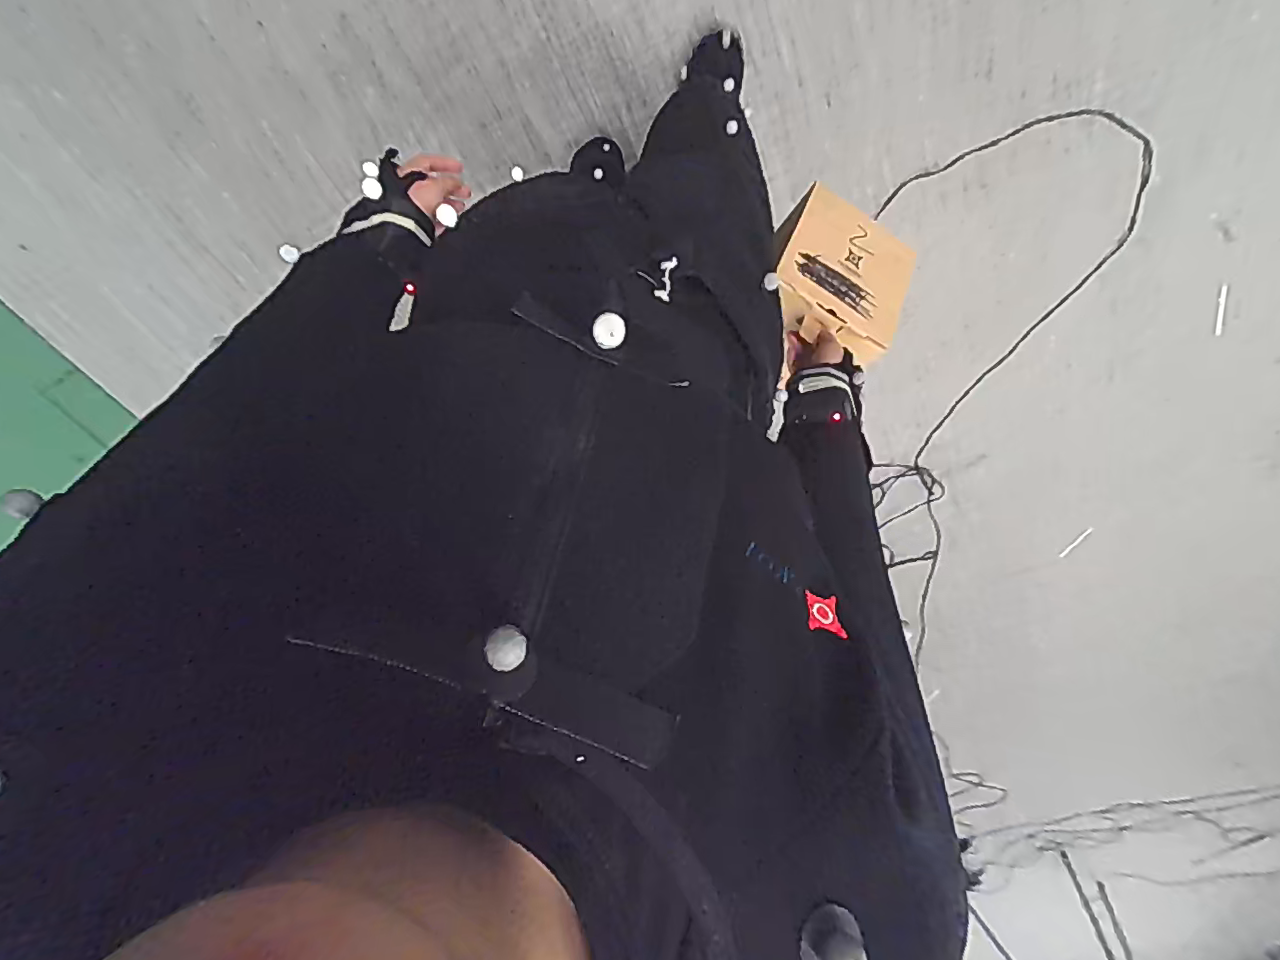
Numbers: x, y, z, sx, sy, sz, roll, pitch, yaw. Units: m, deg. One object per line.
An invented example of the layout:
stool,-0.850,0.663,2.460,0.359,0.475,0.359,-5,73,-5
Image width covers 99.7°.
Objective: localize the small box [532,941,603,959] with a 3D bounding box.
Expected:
small box,-0.218,1.489,1.592,0.168,0.176,0.179,-20,126,12
